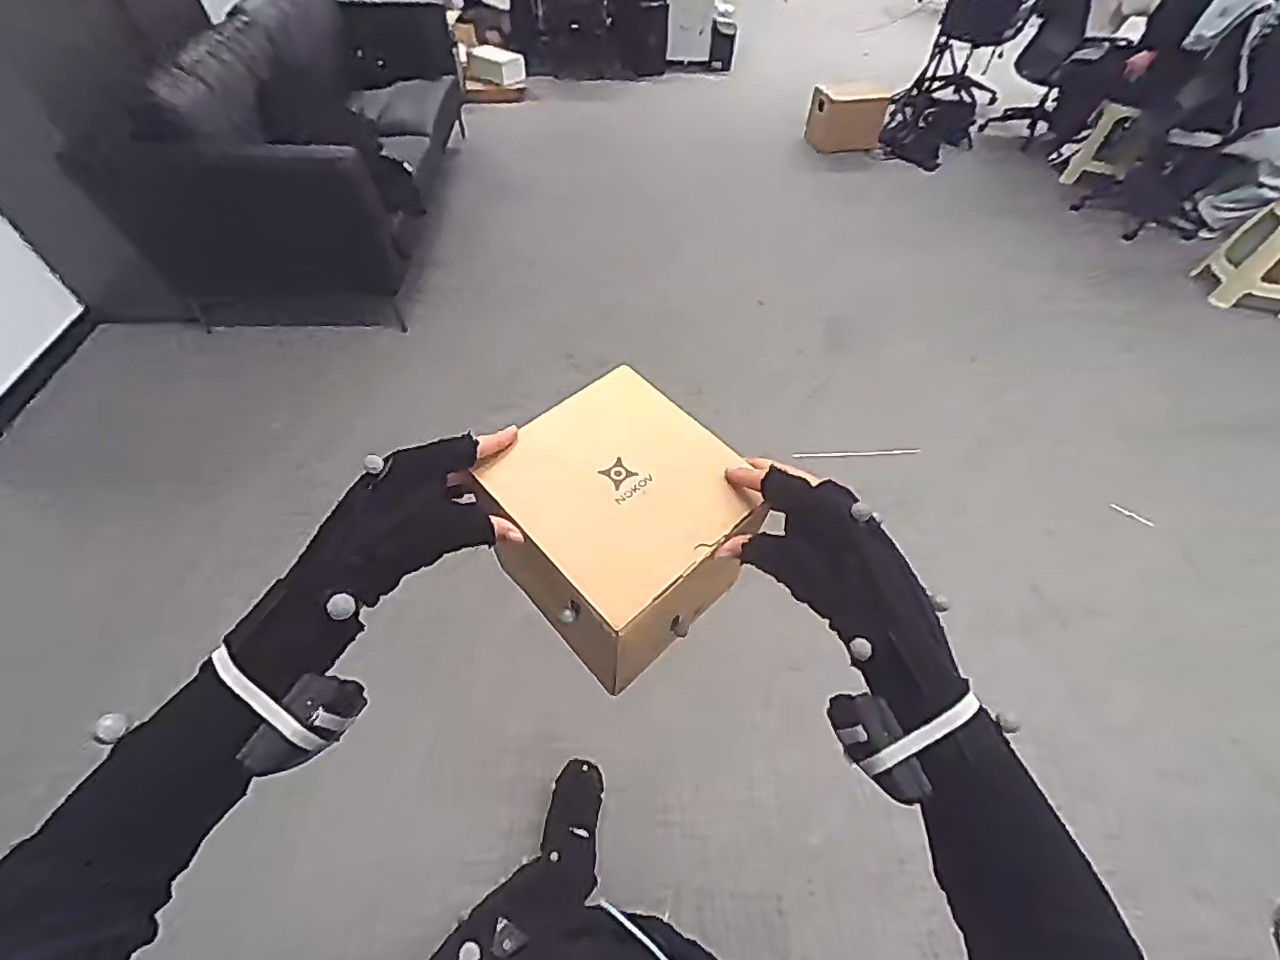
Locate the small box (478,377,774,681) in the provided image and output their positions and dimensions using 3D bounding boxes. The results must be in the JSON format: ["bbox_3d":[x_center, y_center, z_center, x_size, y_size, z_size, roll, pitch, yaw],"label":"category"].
[{"bbox_3d":[-0.017,0.048,0.485,0.168,0.176,0.179,-36,66,-25],"label":"small box"}]
